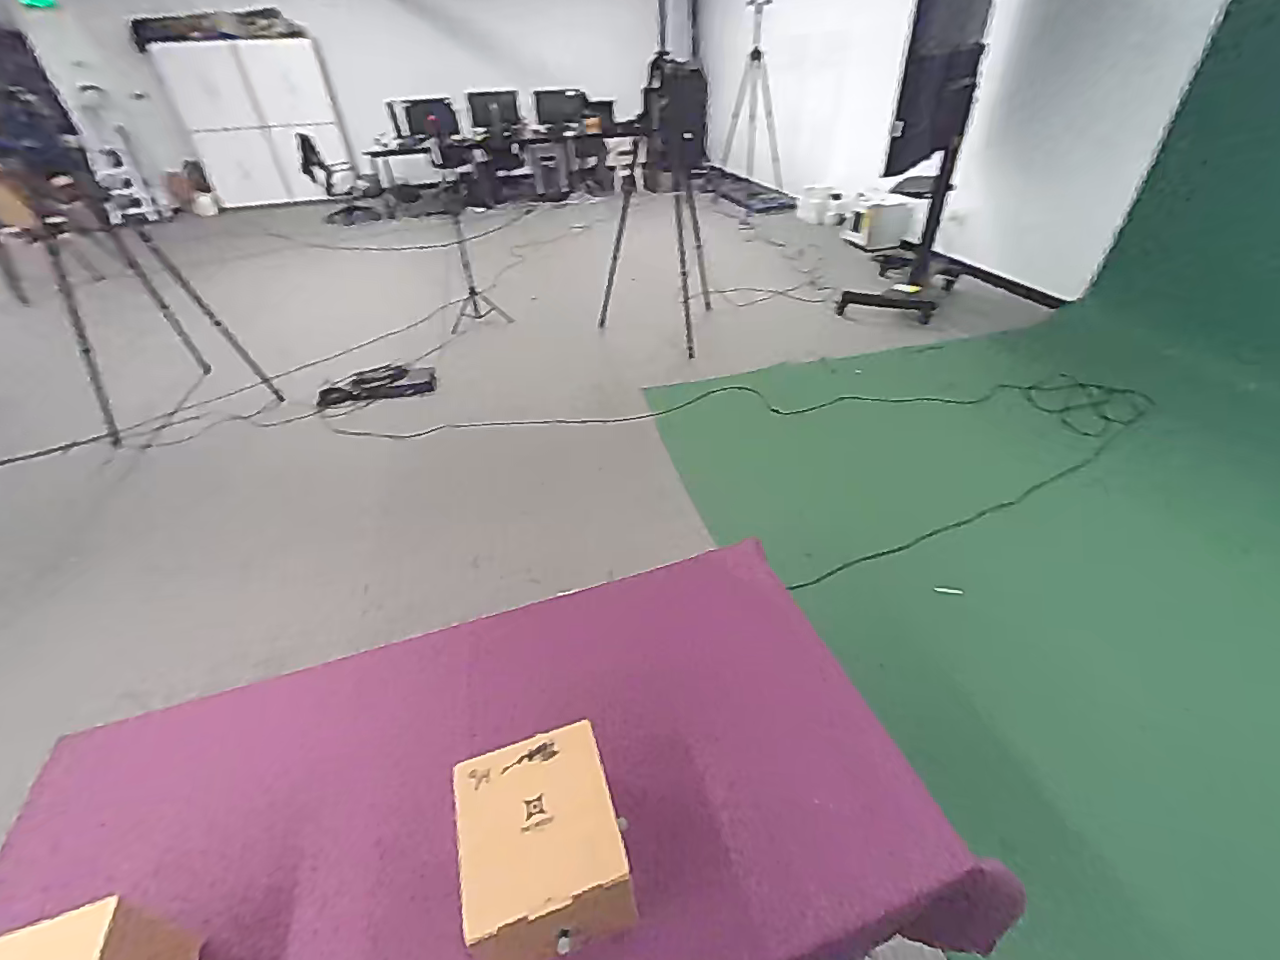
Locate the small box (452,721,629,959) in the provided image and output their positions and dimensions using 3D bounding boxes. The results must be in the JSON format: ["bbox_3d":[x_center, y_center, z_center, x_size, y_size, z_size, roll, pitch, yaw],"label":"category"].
[{"bbox_3d":[-0.115,0.428,0.638,0.168,0.176,0.179,-13,40,-13],"label":"small box"}]

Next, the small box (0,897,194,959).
[{"bbox_3d":[-0.572,0.549,0.511,0.168,0.176,0.179,-13,39,-15],"label":"small box"}]
